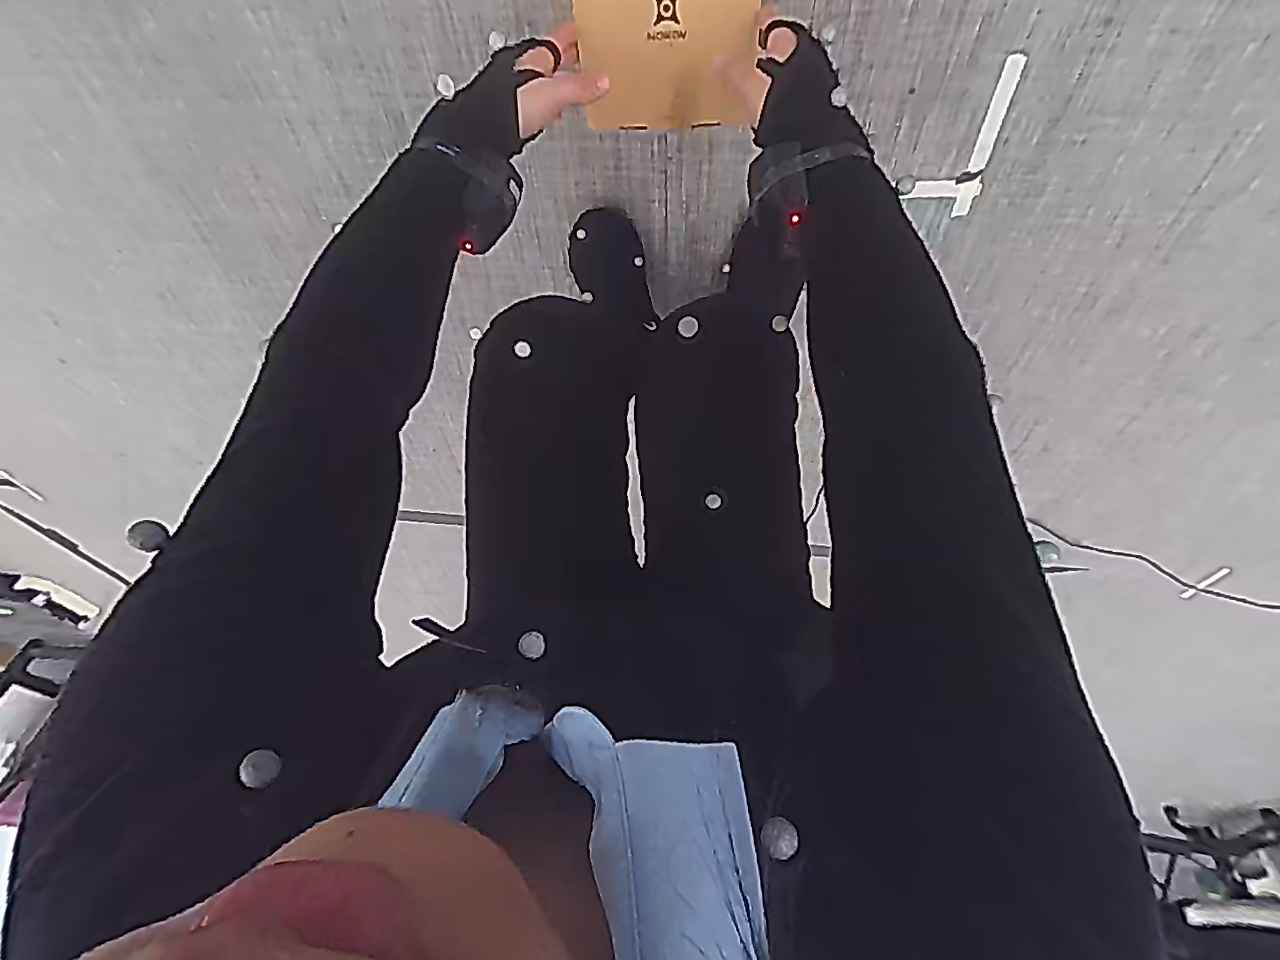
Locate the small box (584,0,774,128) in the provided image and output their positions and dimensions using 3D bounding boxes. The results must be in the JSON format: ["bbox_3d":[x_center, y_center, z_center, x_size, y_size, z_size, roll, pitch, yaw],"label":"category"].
[{"bbox_3d":[0.039,-0.468,0.518,0.168,0.176,0.179,1,141,7],"label":"small box"}]
